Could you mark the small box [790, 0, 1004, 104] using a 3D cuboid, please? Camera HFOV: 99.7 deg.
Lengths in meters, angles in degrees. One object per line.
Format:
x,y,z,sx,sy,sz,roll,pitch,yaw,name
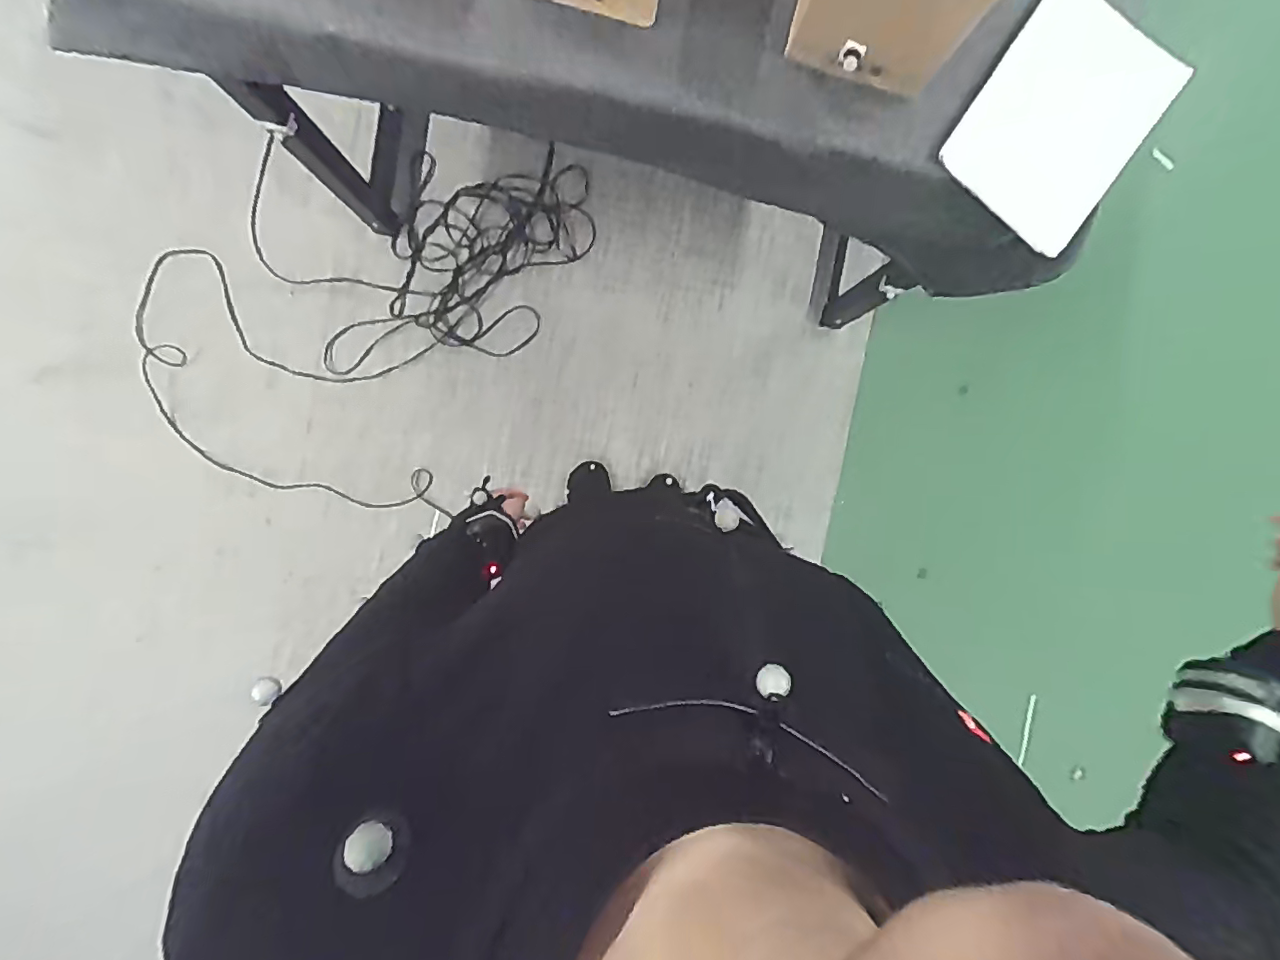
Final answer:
0.269,-0.539,0.549,0.168,0.176,0.179,13,92,-3,small box
